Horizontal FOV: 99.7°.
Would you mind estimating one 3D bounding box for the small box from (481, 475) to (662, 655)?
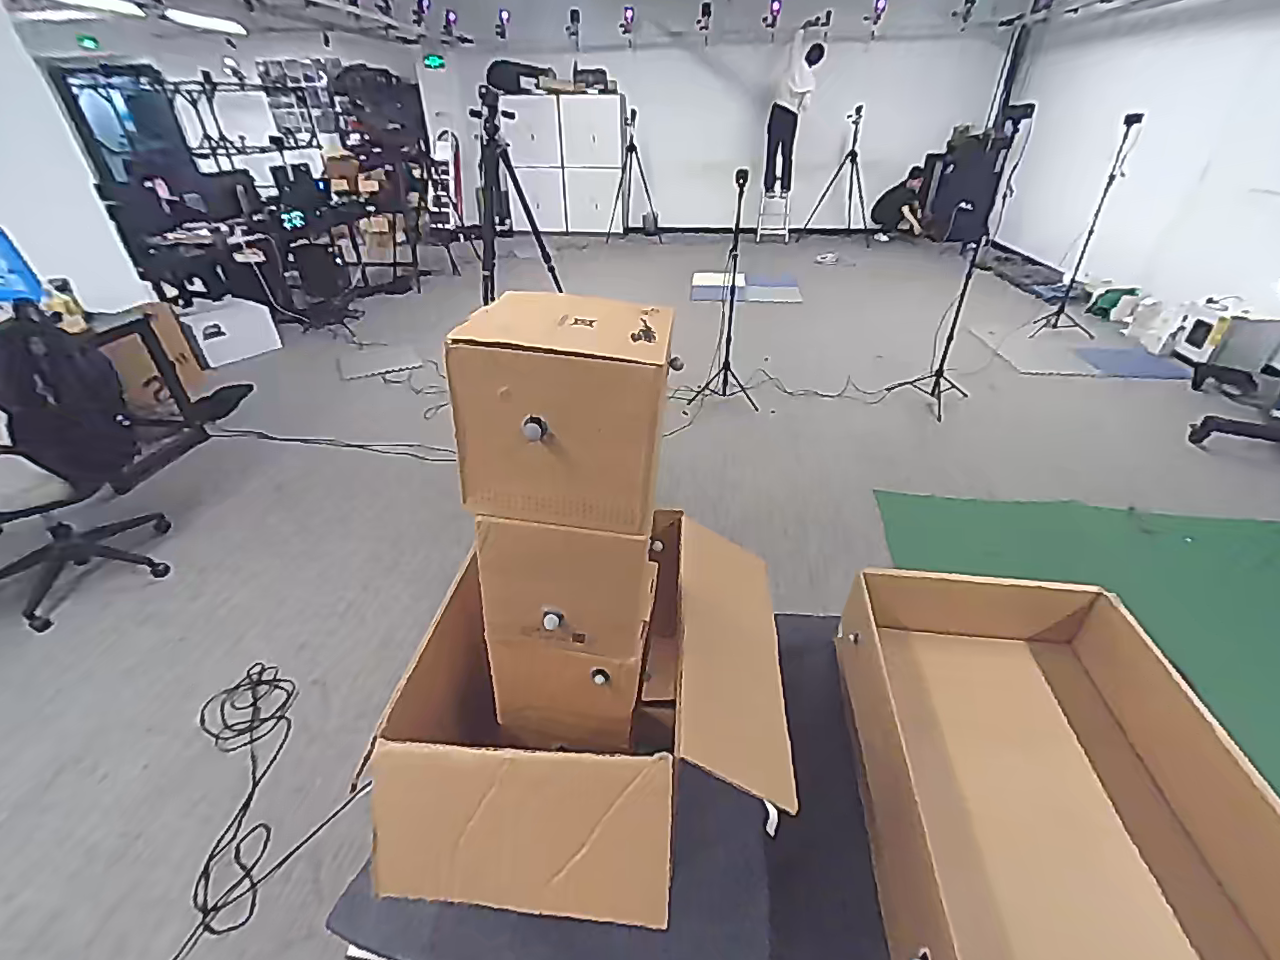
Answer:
[{"bbox_3d":[-0.068,0.067,0.615,0.168,0.176,0.179,7,34,3],"label":"small box"}]

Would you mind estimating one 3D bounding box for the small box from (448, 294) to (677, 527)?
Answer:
[{"bbox_3d":[-0.062,-0.071,0.526,0.179,0.176,0.168,6,33,3],"label":"small box"}]
